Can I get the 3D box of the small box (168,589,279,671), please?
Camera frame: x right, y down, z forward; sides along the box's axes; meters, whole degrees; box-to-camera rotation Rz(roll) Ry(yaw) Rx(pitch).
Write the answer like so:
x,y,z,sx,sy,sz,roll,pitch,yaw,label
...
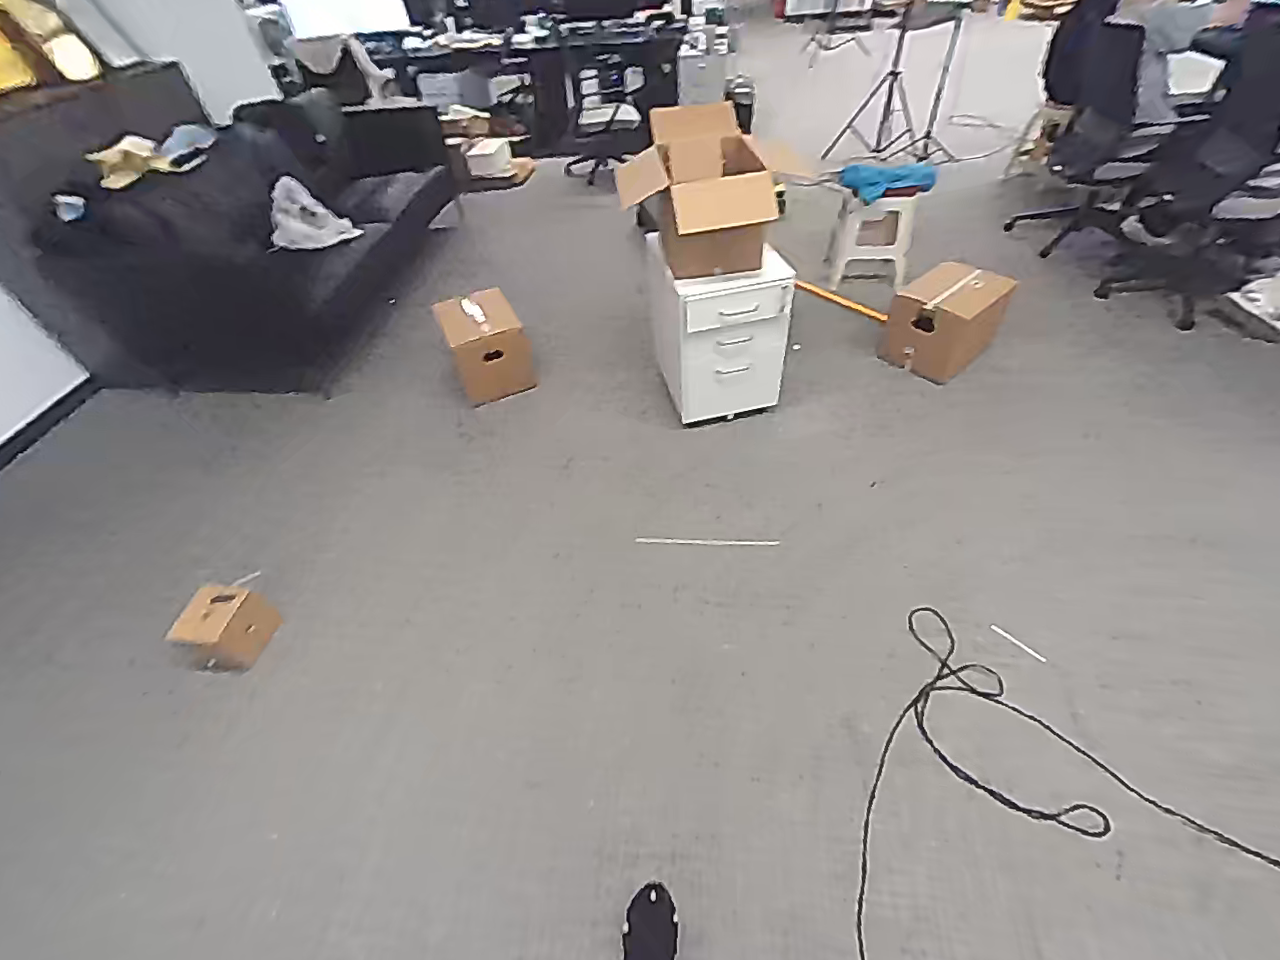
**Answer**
x,y,z,sx,sy,sz,roll,pitch,yaw,label
-1.234,0.450,1.623,0.168,0.176,0.179,2,48,8,small box
